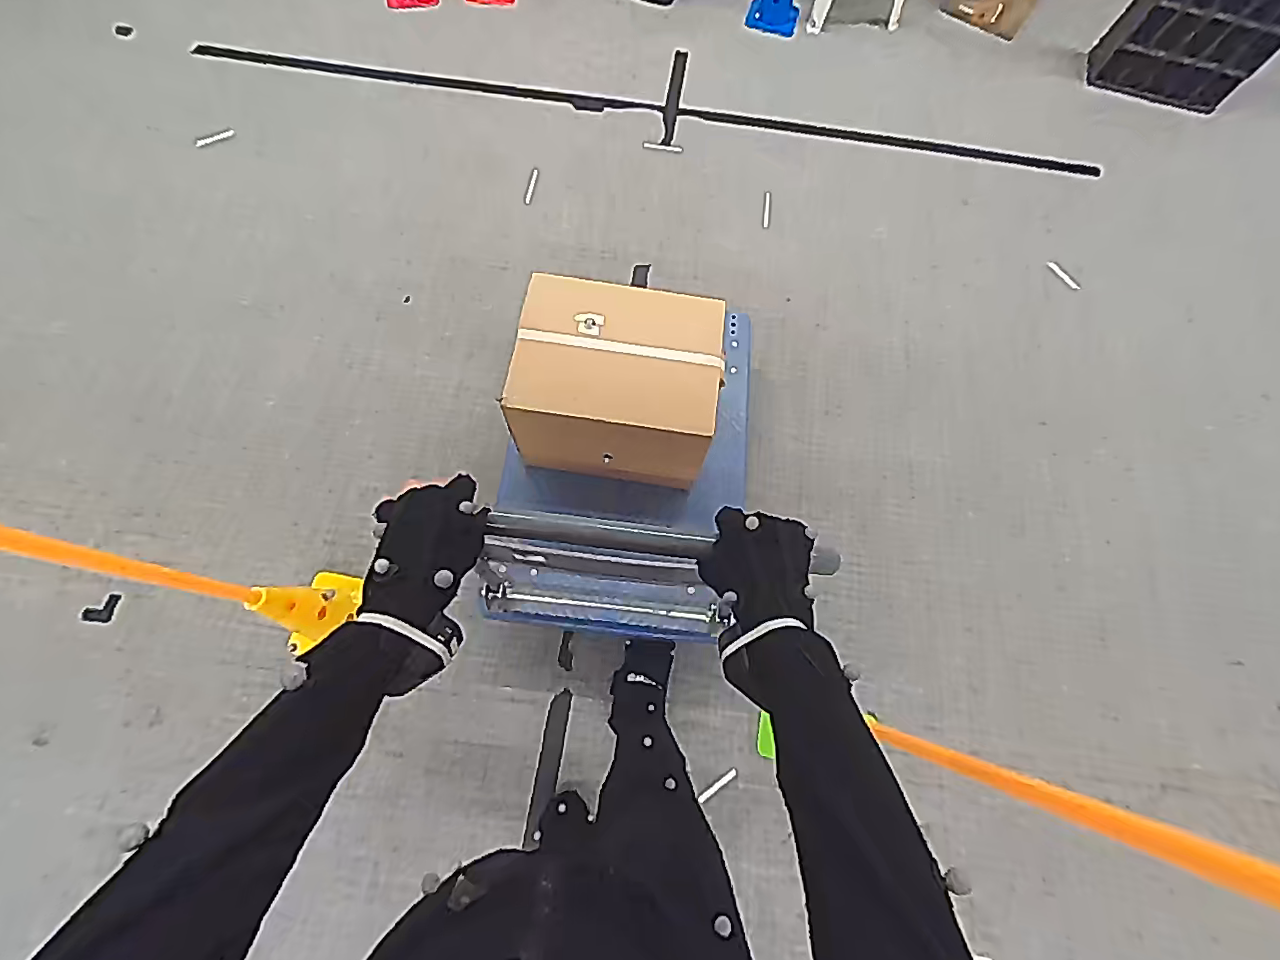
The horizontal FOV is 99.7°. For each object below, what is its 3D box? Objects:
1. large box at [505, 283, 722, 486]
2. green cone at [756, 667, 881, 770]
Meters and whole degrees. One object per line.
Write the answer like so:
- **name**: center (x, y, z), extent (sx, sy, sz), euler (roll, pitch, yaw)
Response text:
- **large box**: center (-0.047, -0.196, 1.216), extent (0.408, 0.320, 0.320), euler (9, 70, 1)
- **green cone**: center (0.395, 0.510, 1.132), extent (0.202, 0.368, 0.200), euler (13, 70, 1)
